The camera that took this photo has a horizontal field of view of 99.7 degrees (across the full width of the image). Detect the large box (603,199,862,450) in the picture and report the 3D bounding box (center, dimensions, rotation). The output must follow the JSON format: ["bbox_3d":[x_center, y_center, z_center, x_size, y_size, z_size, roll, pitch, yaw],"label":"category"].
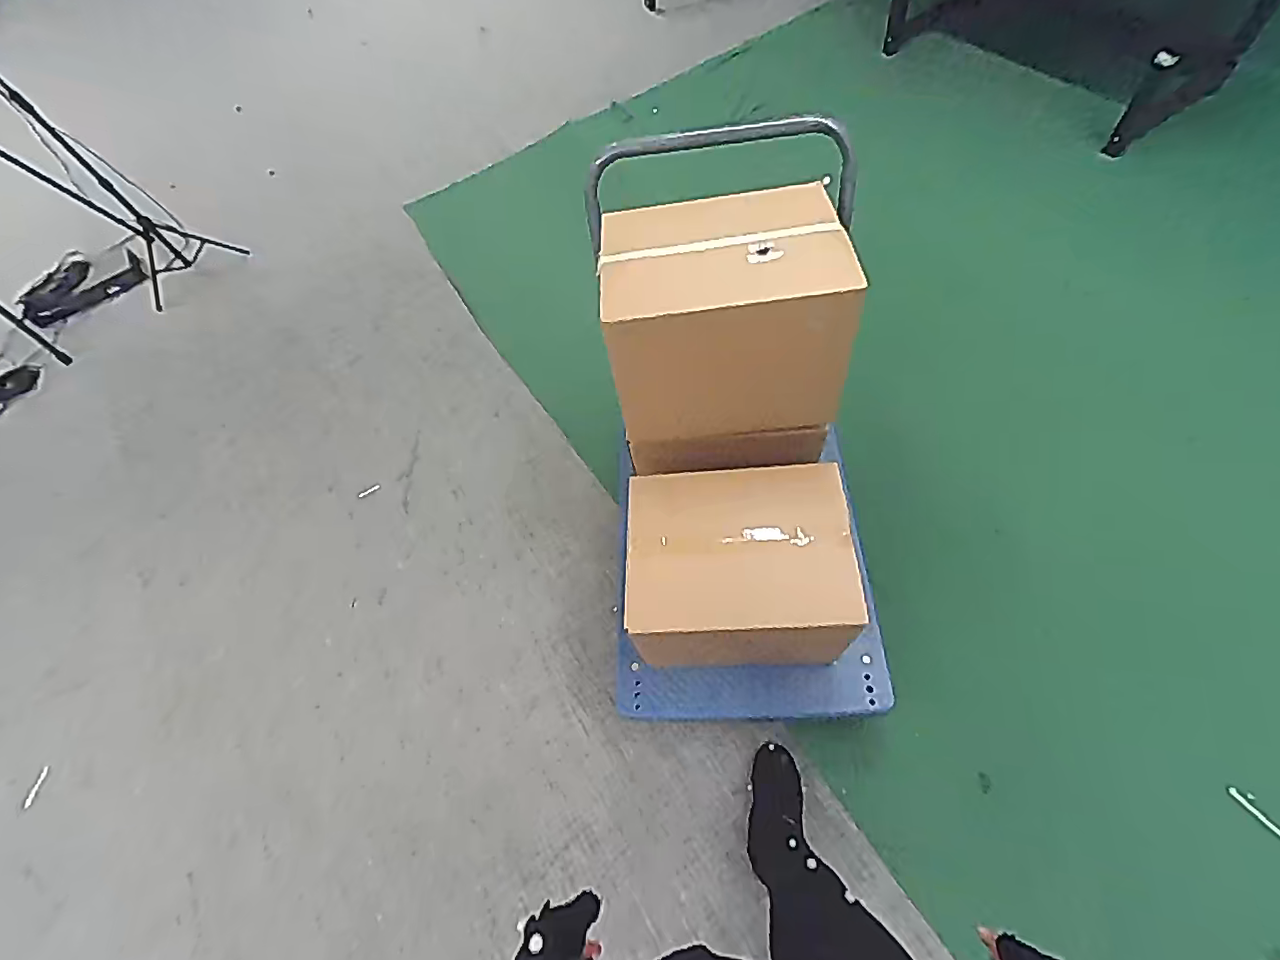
[{"bbox_3d":[0.151,-0.283,1.030,0.408,0.320,0.320,-5,54,5],"label":"large box"}]
